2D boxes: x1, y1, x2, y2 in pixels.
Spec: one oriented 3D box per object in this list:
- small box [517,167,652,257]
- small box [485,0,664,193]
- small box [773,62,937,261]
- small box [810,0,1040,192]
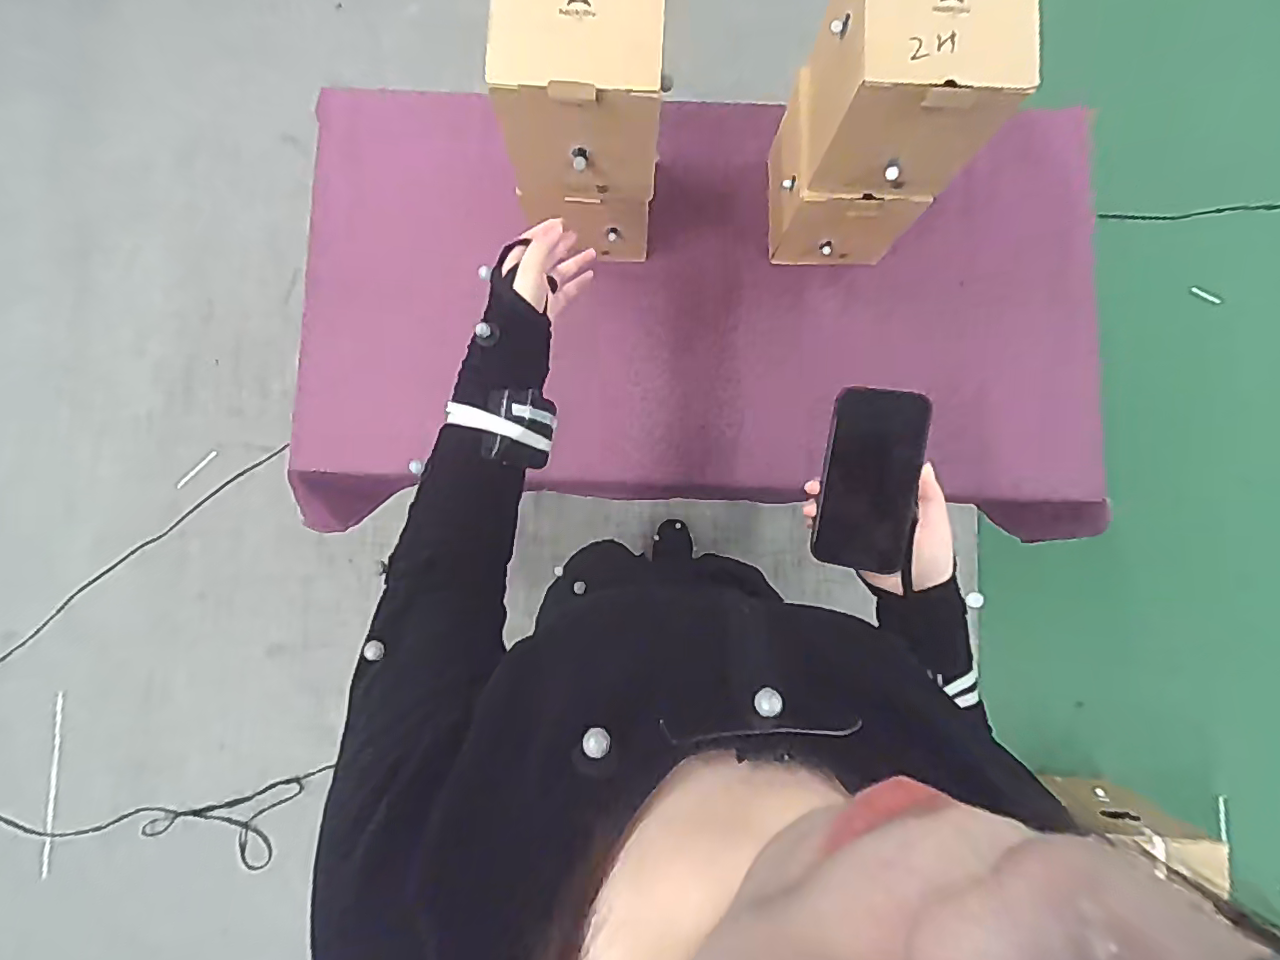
[{"bbox_3d":[-0.067,-0.430,0.750,0.168,0.176,0.179,3,85,-1],"label":"small box"},{"bbox_3d":[-0.060,-0.440,0.586,0.168,0.176,0.179,3,86,-1],"label":"small box"},{"bbox_3d":[0.284,-0.428,0.748,0.168,0.176,0.179,0,86,0],"label":"small box"},{"bbox_3d":[0.290,-0.447,0.584,0.168,0.176,0.179,3,86,1],"label":"small box"}]
